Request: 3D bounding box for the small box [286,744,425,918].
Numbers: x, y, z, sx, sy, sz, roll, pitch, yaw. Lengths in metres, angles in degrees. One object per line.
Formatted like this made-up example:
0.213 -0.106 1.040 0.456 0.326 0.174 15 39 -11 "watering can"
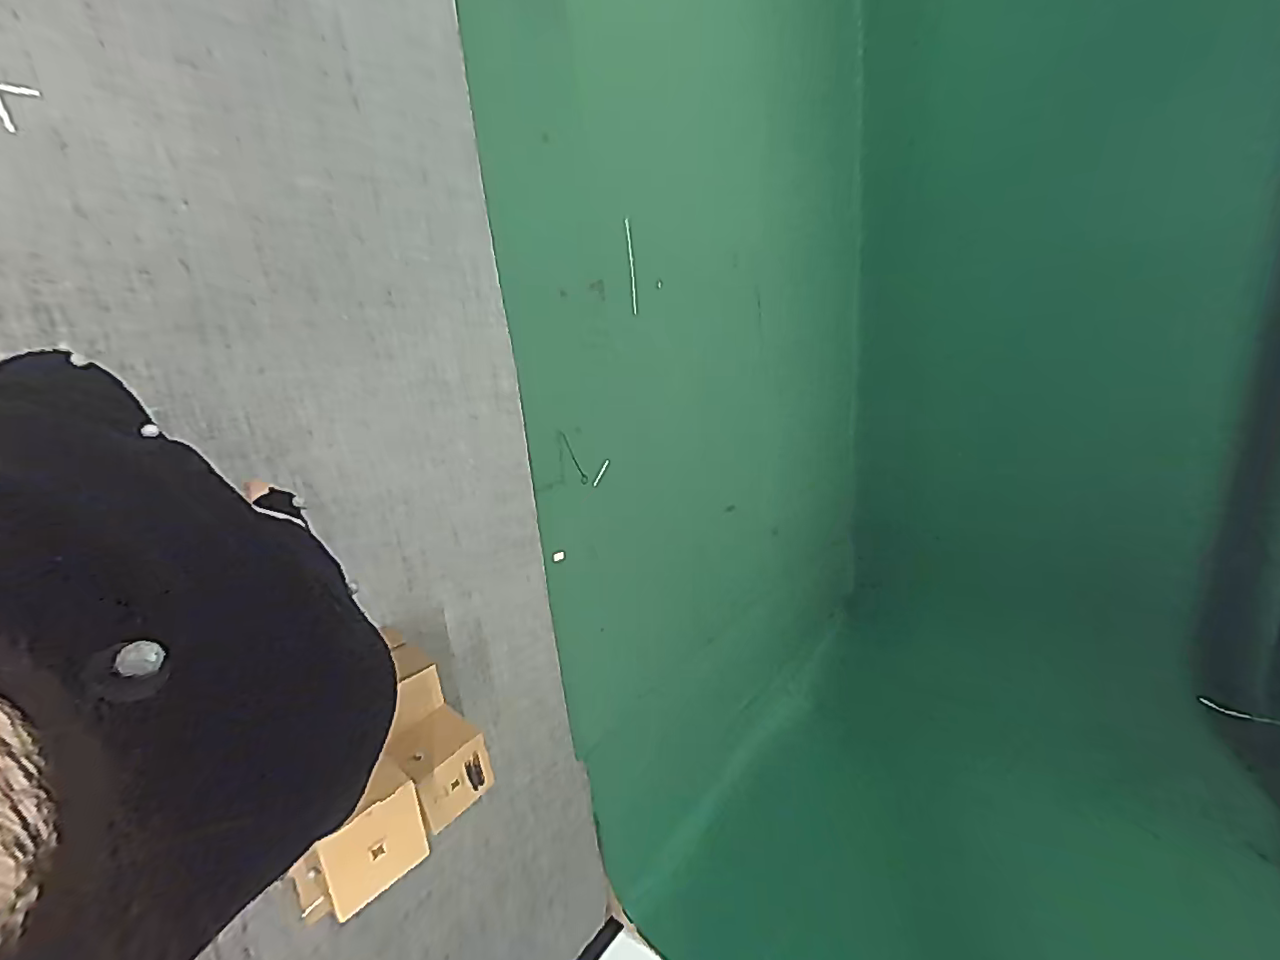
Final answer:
-0.531 0.639 1.011 0.168 0.176 0.179 -20 112 -45 "small box"
